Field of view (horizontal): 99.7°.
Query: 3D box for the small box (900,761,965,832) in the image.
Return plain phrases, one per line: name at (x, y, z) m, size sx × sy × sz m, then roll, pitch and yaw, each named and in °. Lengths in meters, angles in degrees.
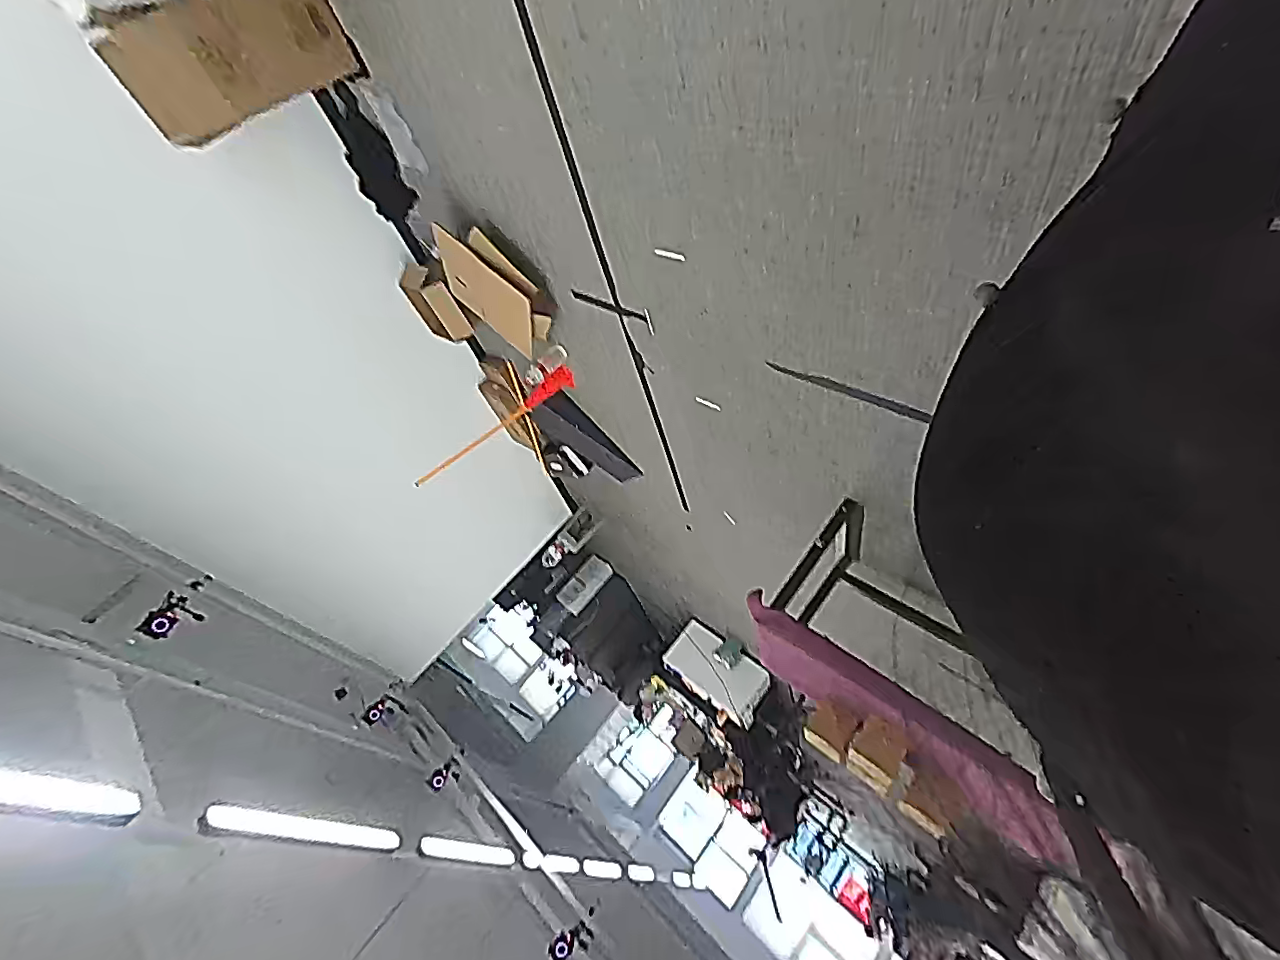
small box at (1.155, 1.243, 2.132) m, size 0.168 × 0.176 × 0.179 m, roll 29°, pitch 154°, yaw 34°
